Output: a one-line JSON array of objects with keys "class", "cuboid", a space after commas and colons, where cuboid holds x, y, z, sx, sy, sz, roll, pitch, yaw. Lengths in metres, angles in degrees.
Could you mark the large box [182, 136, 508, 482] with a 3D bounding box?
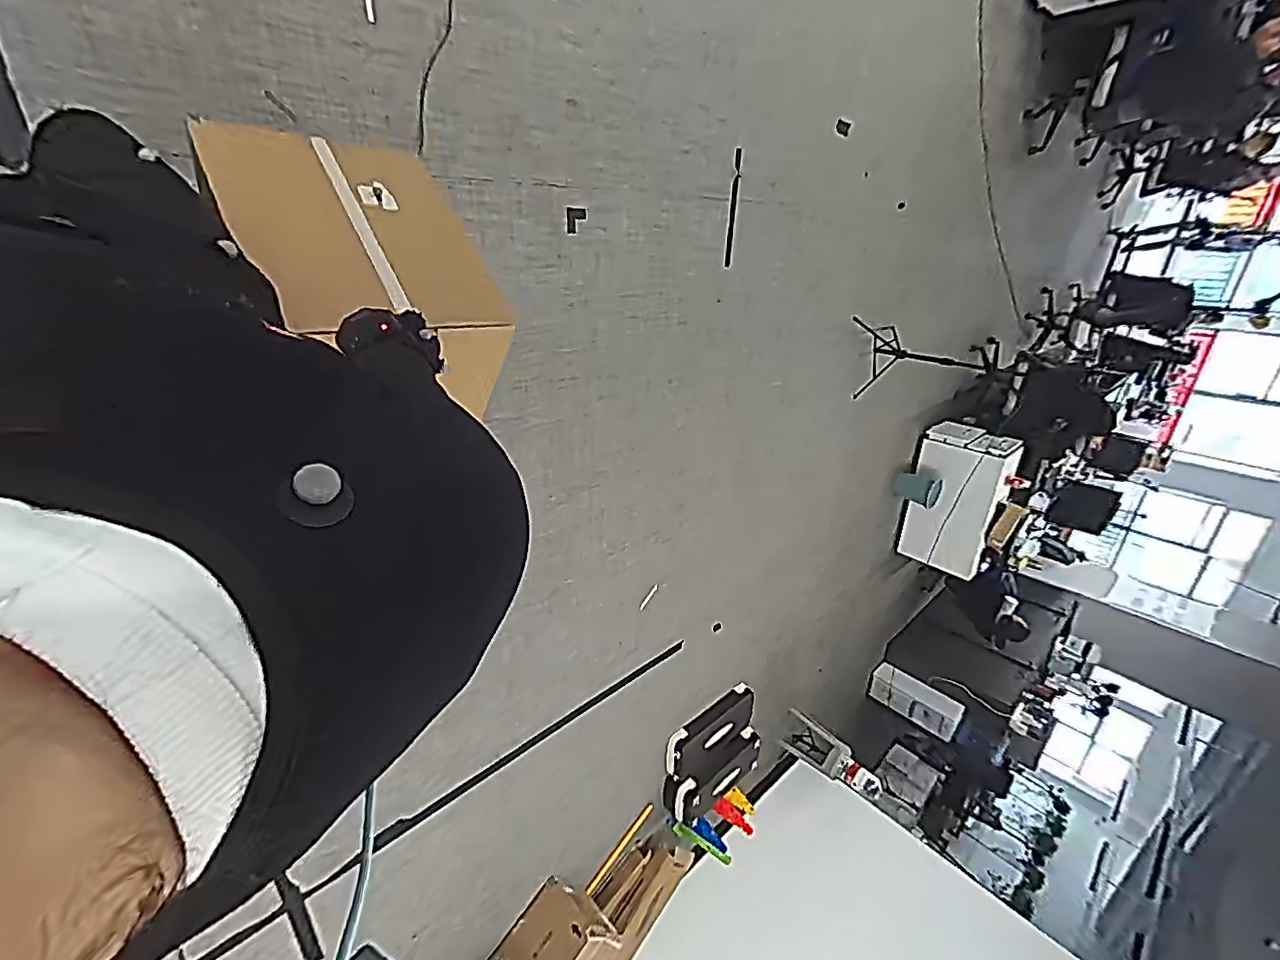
[{"class": "large box", "cuboid": [-0.473, -0.266, 0.877, 0.320, 0.408, 0.320, -17, 155, -41]}]
